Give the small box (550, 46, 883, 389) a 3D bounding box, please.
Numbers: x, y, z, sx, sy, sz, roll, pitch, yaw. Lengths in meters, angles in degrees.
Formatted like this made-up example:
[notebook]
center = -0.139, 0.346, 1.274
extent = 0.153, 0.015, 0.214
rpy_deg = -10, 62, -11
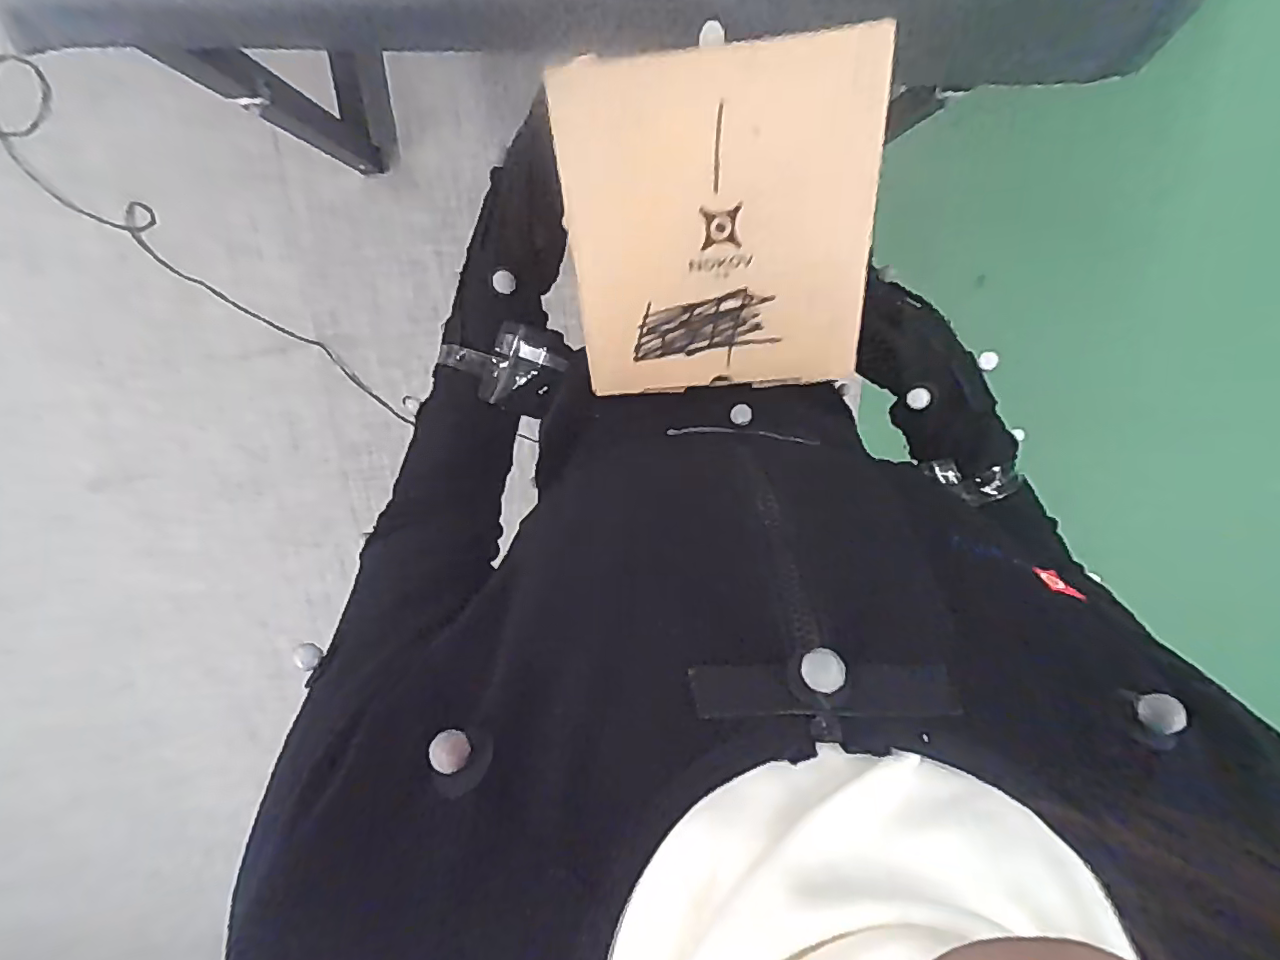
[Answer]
[small box]
center = 0.046, -0.180, 0.376
extent = 0.168, 0.176, 0.179
rpy_deg = -2, 125, 5
